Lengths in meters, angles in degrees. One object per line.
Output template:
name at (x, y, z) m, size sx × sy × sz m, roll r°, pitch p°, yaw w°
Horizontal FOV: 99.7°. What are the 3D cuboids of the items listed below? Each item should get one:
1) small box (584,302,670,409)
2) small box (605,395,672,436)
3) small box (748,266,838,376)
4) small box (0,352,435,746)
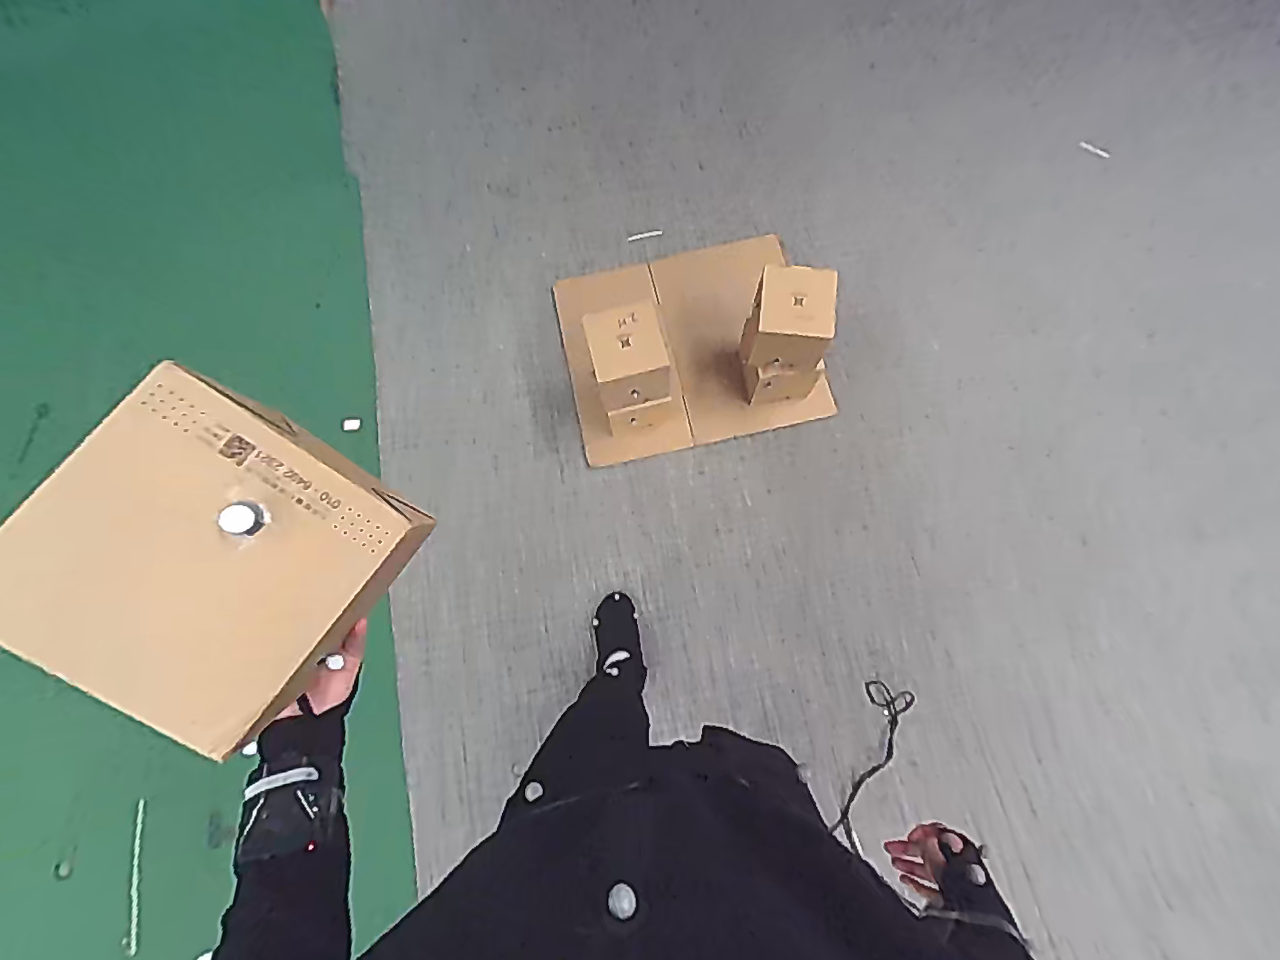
small box at (-0.025, -0.281, 1.270) m, size 0.168 × 0.176 × 0.179 m, roll -14°, pitch 73°, yaw -2°
small box at (-0.013, -0.229, 1.427) m, size 0.168 × 0.176 × 0.179 m, roll -14°, pitch 73°, yaw -1°
small box at (0.355, -0.370, 1.273) m, size 0.168 × 0.176 × 0.179 m, roll 8°, pitch 74°, yaw 4°
small box at (-0.267, 0.041, 0.384) m, size 0.168 × 0.179 × 0.176 m, roll 37°, pitch 76°, yaw -10°
